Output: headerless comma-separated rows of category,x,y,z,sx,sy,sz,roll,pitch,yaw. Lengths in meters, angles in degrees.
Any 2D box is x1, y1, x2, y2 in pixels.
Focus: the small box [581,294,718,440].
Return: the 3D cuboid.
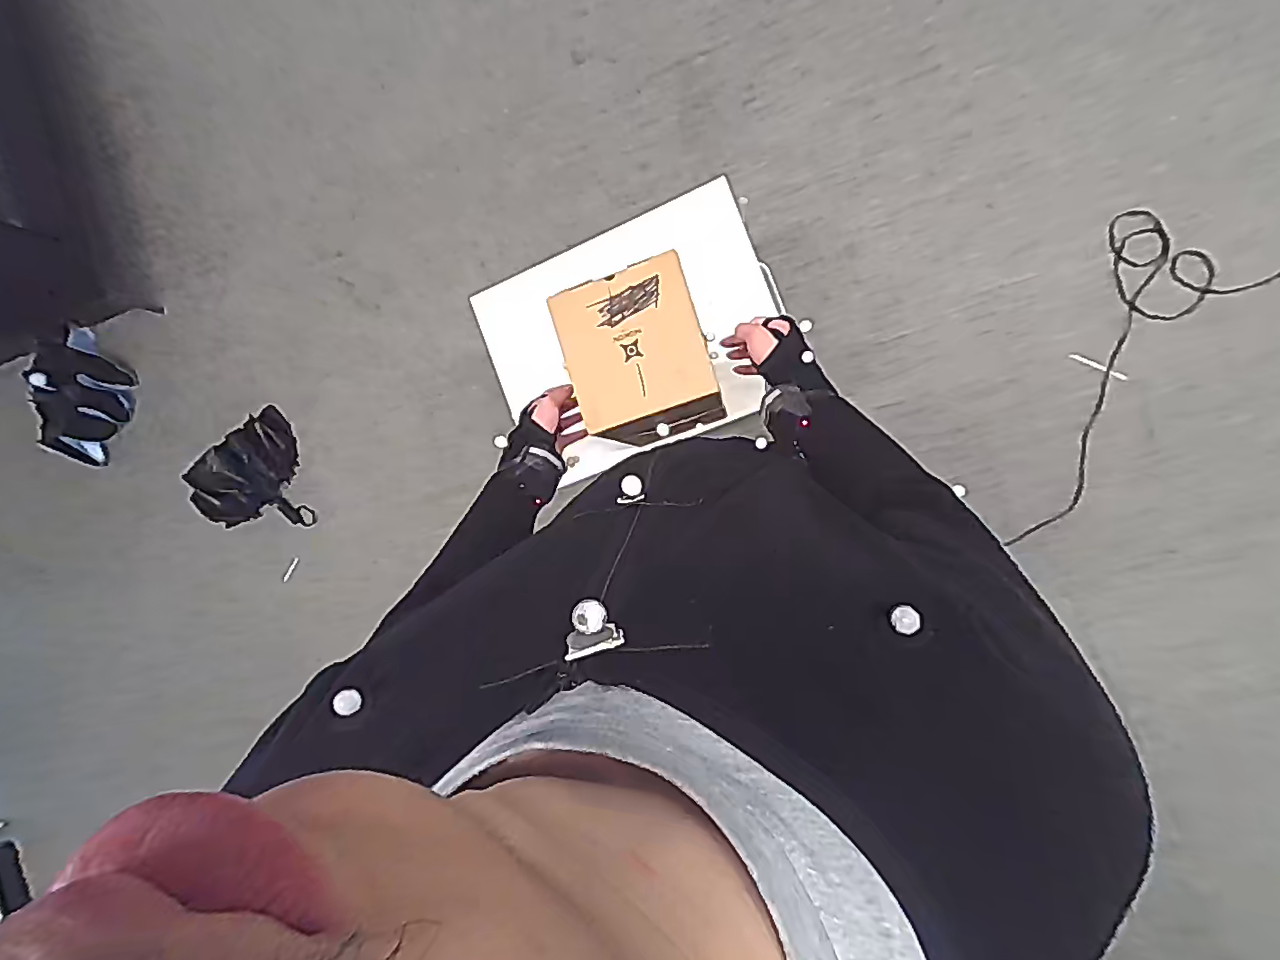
small box,0.024,-0.169,0.876,0.168,0.176,0.179,-18,87,9
